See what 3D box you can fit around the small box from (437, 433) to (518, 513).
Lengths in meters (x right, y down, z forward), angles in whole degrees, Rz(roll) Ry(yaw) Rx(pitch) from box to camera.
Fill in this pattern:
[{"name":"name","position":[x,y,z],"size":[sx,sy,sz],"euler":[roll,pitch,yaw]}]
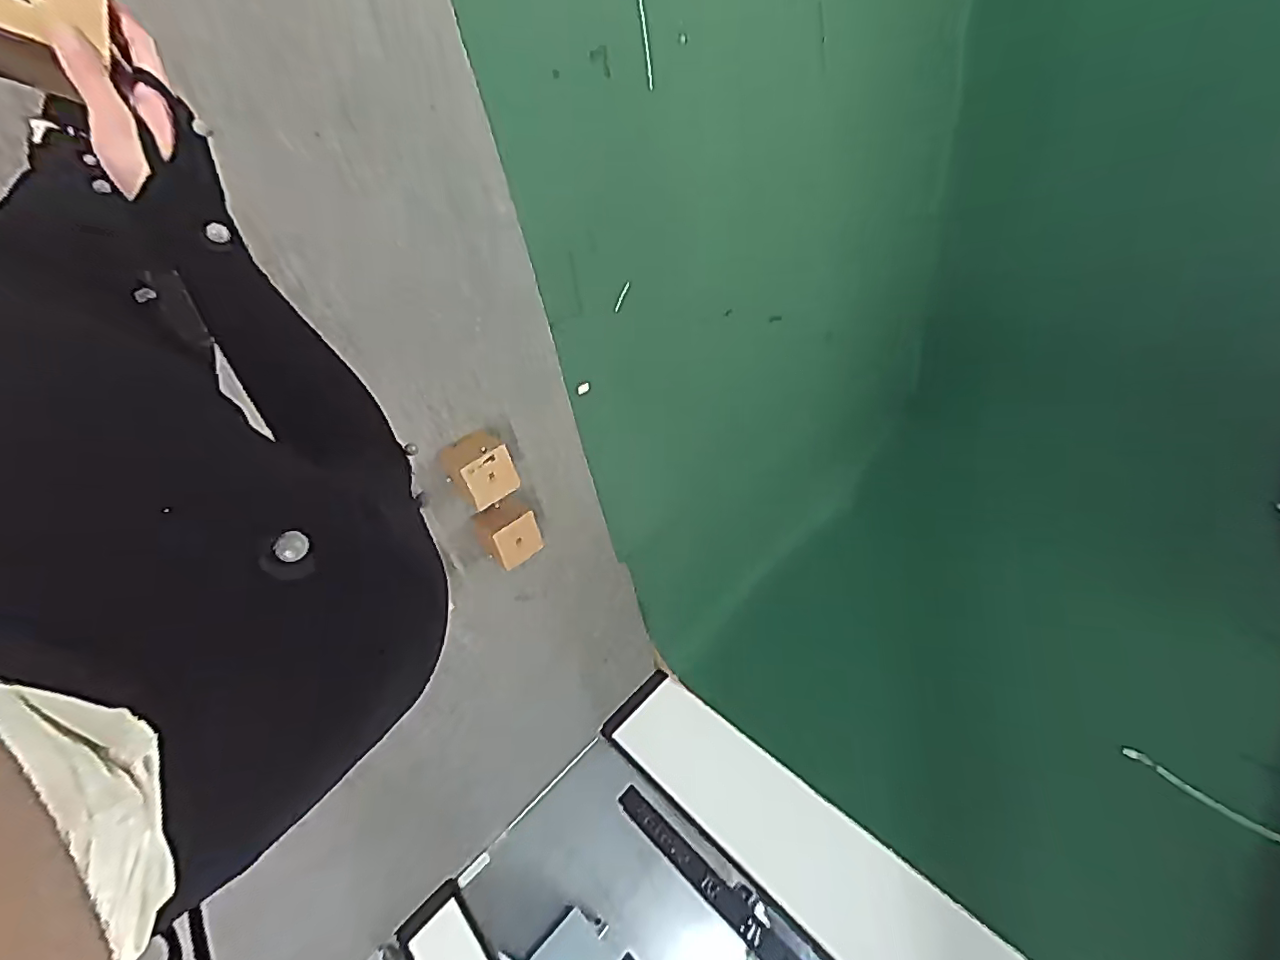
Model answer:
[{"name":"small box","position":[-0.534,-0.028,1.773],"size":[0.168,0.176,0.179],"euler":[-36,133,-29]}]
